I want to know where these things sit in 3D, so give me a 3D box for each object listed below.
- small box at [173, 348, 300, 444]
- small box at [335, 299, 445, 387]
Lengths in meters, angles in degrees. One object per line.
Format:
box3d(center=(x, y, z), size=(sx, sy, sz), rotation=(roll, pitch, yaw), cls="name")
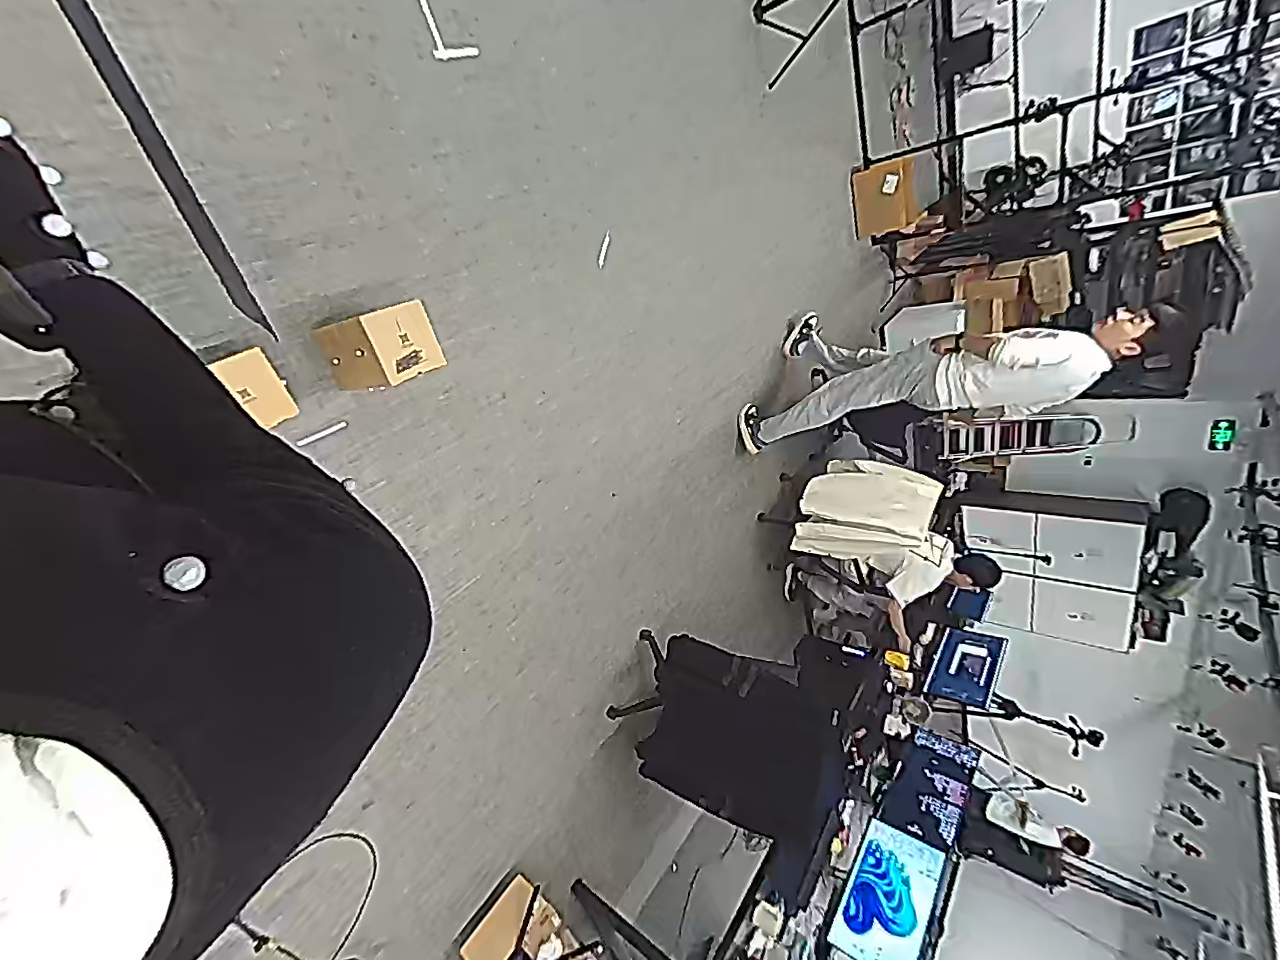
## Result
box3d(center=(-0.967, -0.199, 1.295), size=(0.168, 0.176, 0.179), rotation=(-42, 124, -36), cls="small box")
box3d(center=(-0.641, -0.348, 1.390), size=(0.168, 0.176, 0.179), rotation=(-38, 120, -39), cls="small box")
